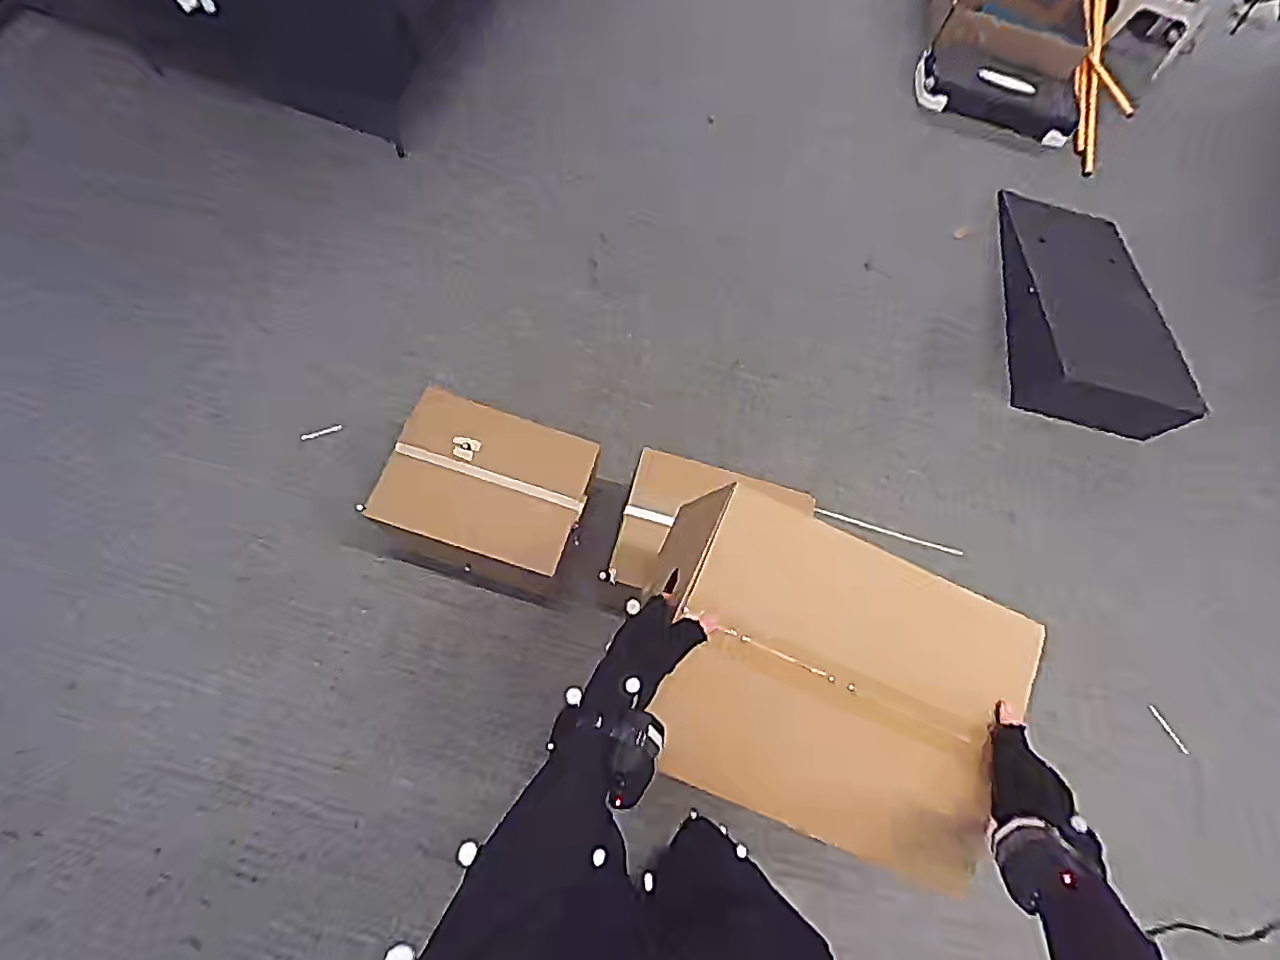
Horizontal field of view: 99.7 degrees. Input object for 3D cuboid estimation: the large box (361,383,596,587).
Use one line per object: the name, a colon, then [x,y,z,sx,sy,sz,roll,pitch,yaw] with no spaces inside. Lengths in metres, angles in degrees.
large box: [-0.340,0.031,1.264,0.408,0.320,0.320,18,68,-1]
